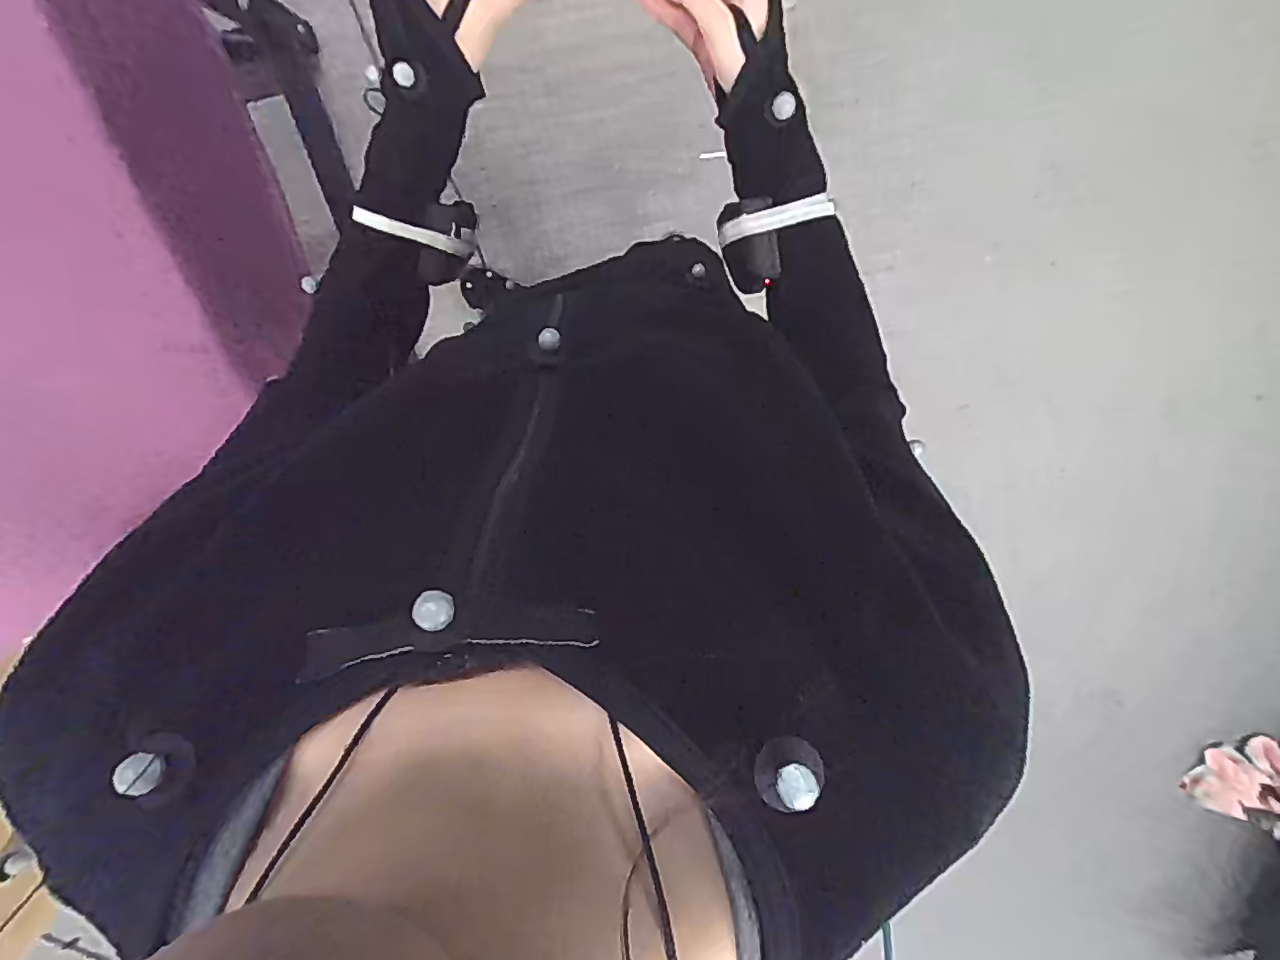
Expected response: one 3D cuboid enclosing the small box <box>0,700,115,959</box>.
[{"bbox_3d":[-0.611,0.317,0.451,0.179,0.176,0.168,-21,113,8],"label":"small box"}]
